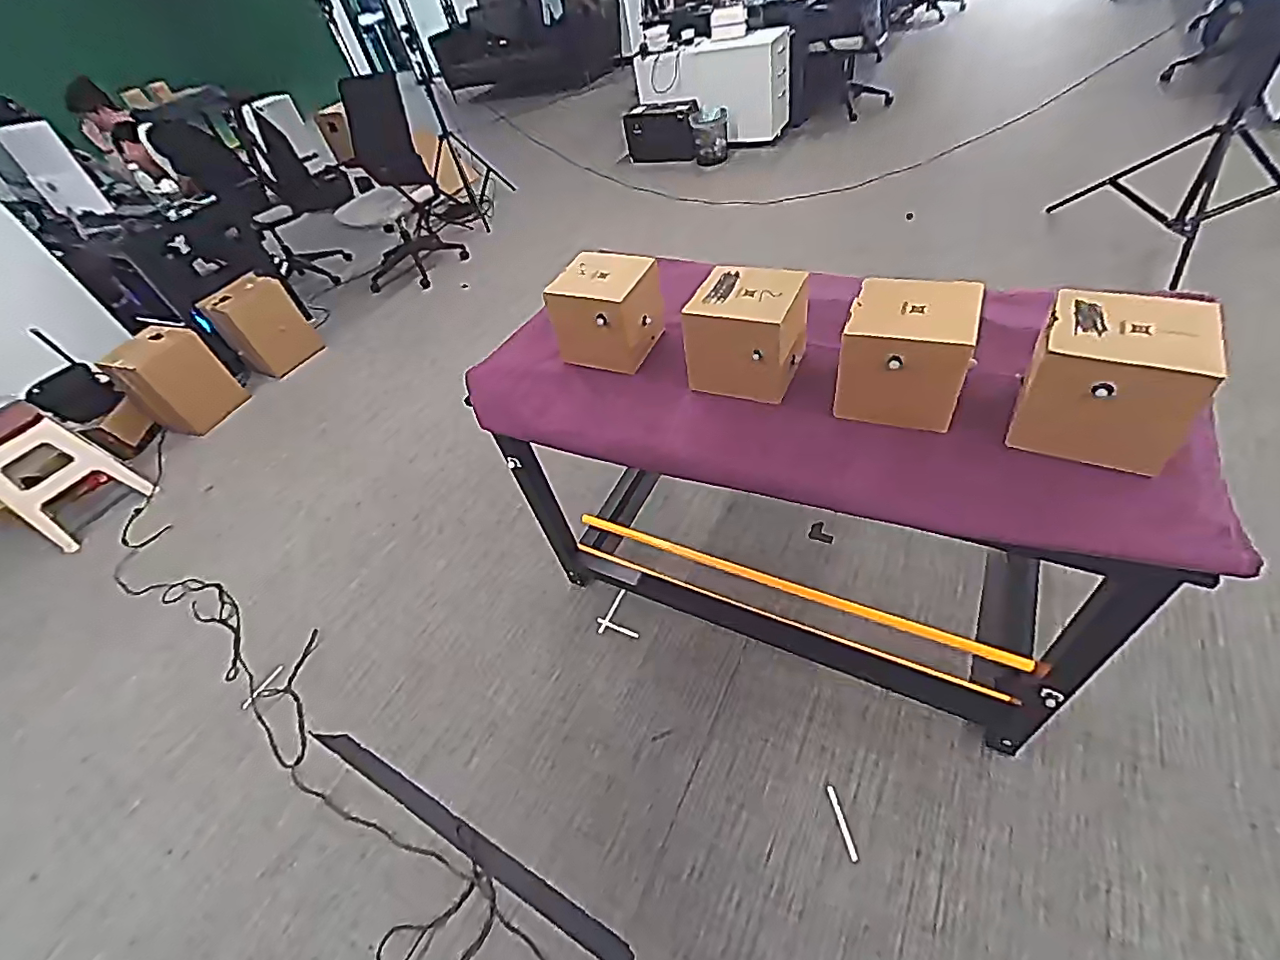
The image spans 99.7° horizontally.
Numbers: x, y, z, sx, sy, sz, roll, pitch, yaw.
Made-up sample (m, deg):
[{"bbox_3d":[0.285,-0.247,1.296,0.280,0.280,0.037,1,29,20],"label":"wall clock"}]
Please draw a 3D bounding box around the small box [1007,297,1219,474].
[{"bbox_3d":[0.642,-0.132,0.754,0.179,0.176,0.168,18,53,28],"label":"small box"}]

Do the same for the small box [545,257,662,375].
[{"bbox_3d":[-0.065,-0.339,1.123,0.179,0.176,0.168,15,52,22],"label":"small box"}]

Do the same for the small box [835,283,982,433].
[{"bbox_3d":[0.426,-0.196,0.874,0.179,0.176,0.168,13,52,25],"label":"small box"}]
